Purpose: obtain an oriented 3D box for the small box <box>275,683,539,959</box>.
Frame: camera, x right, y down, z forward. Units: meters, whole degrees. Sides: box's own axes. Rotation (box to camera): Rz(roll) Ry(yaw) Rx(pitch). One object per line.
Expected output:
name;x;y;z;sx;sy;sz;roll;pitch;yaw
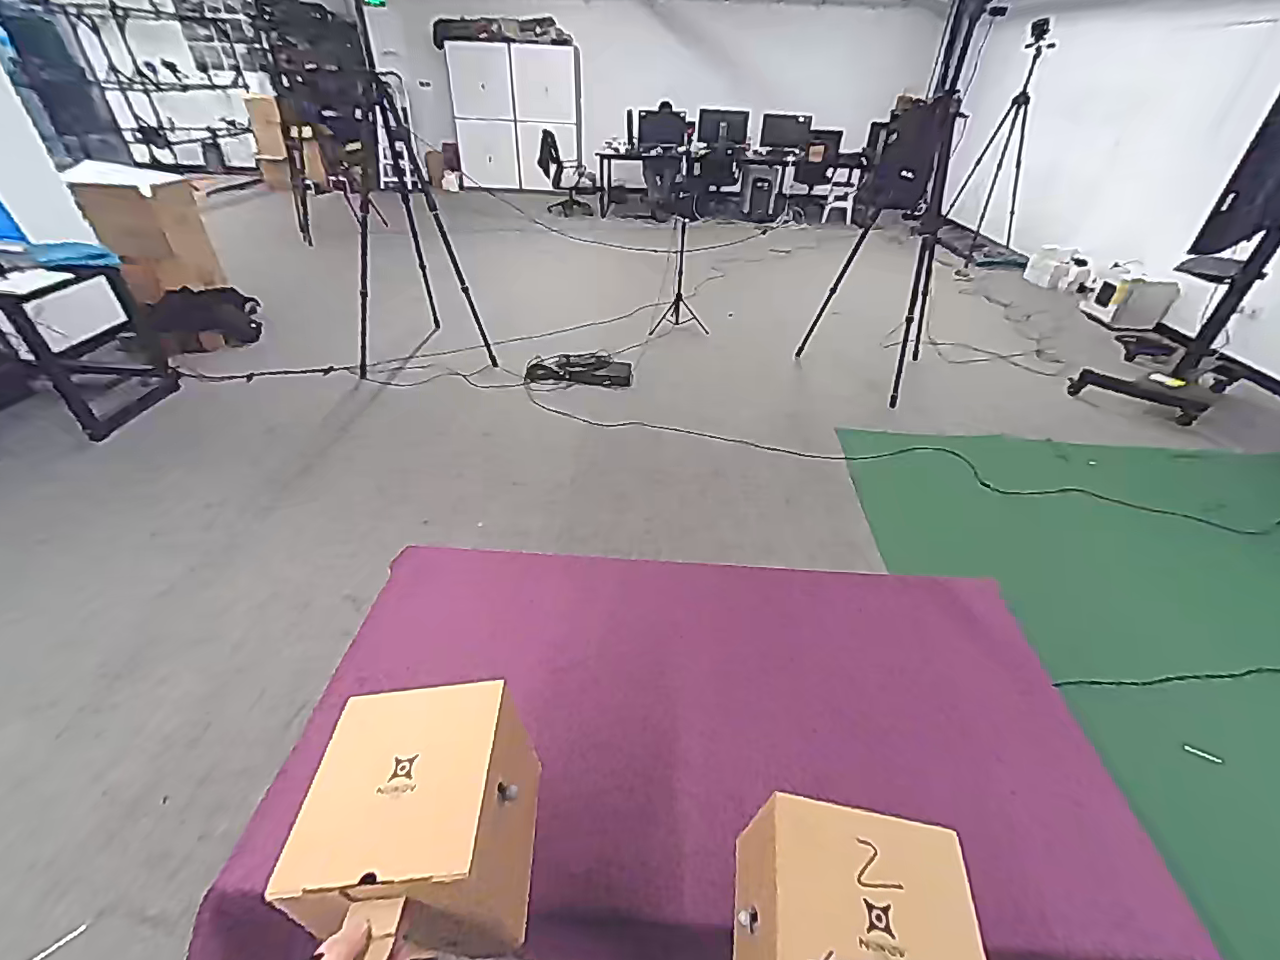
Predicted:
small box;-0.201;0.330;0.532;0.168;0.176;0.179;-6;36;1
